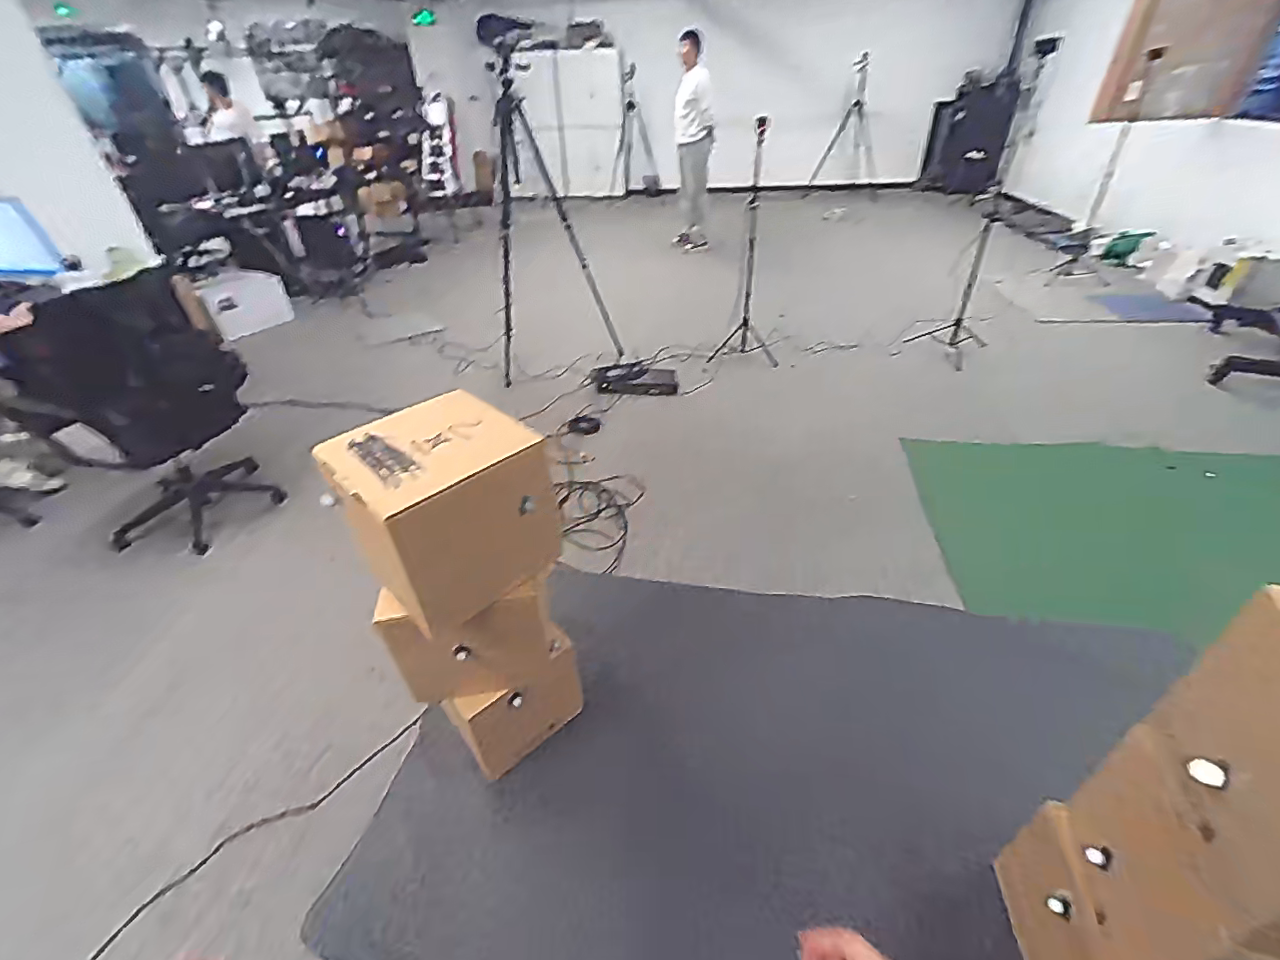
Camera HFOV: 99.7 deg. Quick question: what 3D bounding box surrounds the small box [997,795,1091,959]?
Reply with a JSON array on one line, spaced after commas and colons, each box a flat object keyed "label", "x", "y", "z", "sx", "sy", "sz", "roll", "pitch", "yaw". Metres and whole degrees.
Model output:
[{"label": "small box", "x": 0.490, "y": 0.450, "z": 0.532, "sx": 0.168, "sy": 0.176, "sz": 0.179, "roll": 3, "pitch": 37, "yaw": 9}]

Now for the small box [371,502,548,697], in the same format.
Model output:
[{"label": "small box", "x": -0.215, "y": 0.153, "z": 0.701, "sx": 0.179, "sy": 0.176, "sz": 0.168, "roll": -8, "pitch": 38, "yaw": -7}]

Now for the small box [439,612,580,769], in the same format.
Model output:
[{"label": "small box", "x": -0.208, "y": 0.282, "z": 0.804, "sx": 0.168, "sy": 0.176, "sz": 0.179, "roll": -30, "pitch": 45, "yaw": -31}]
